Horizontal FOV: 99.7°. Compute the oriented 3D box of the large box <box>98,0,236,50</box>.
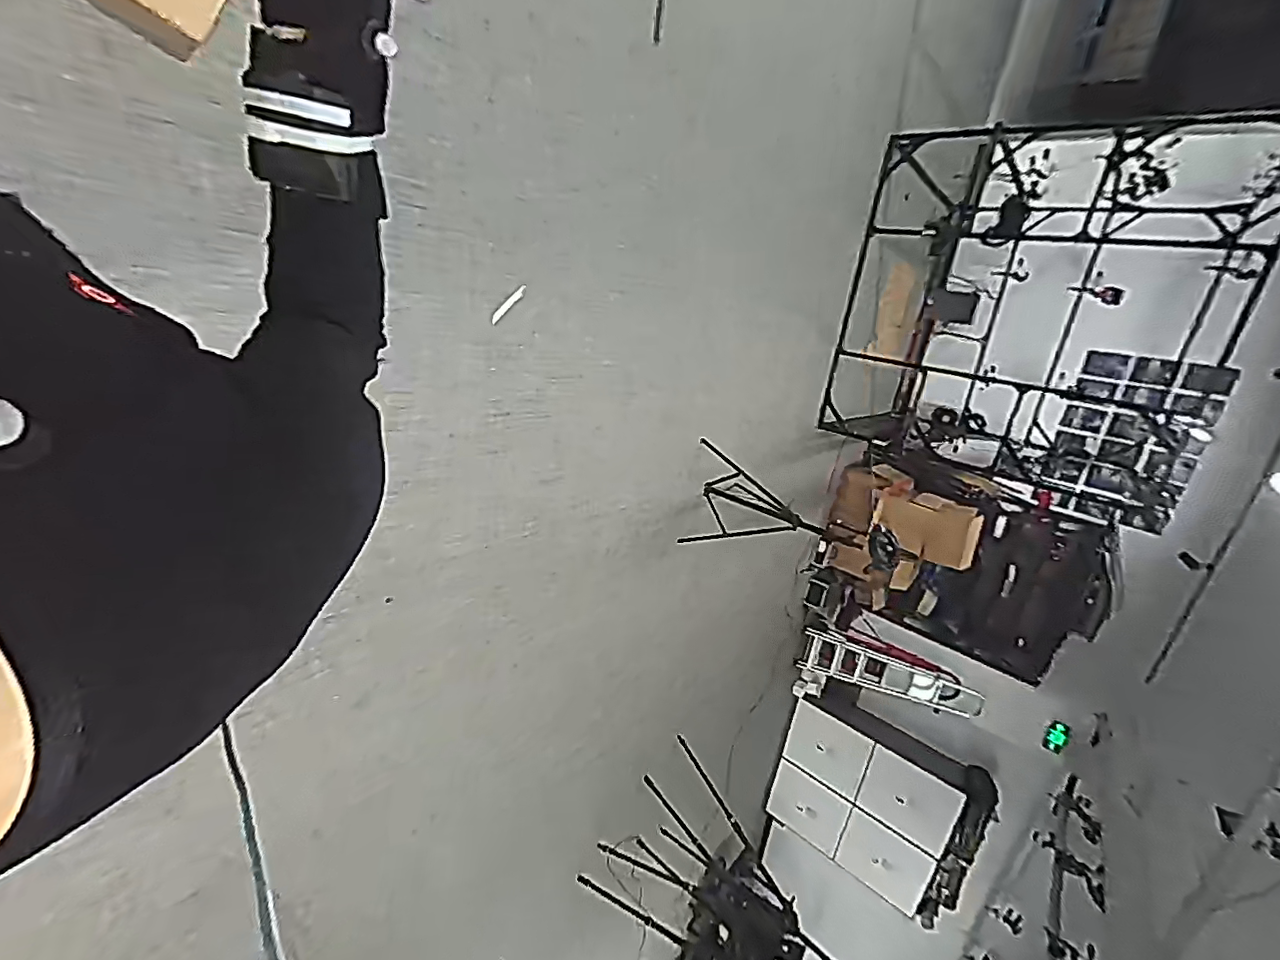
[{"bbox_3d":[-0.388,-0.505,0.242,0.408,0.320,0.320,21,104,-49],"label":"large box"}]
